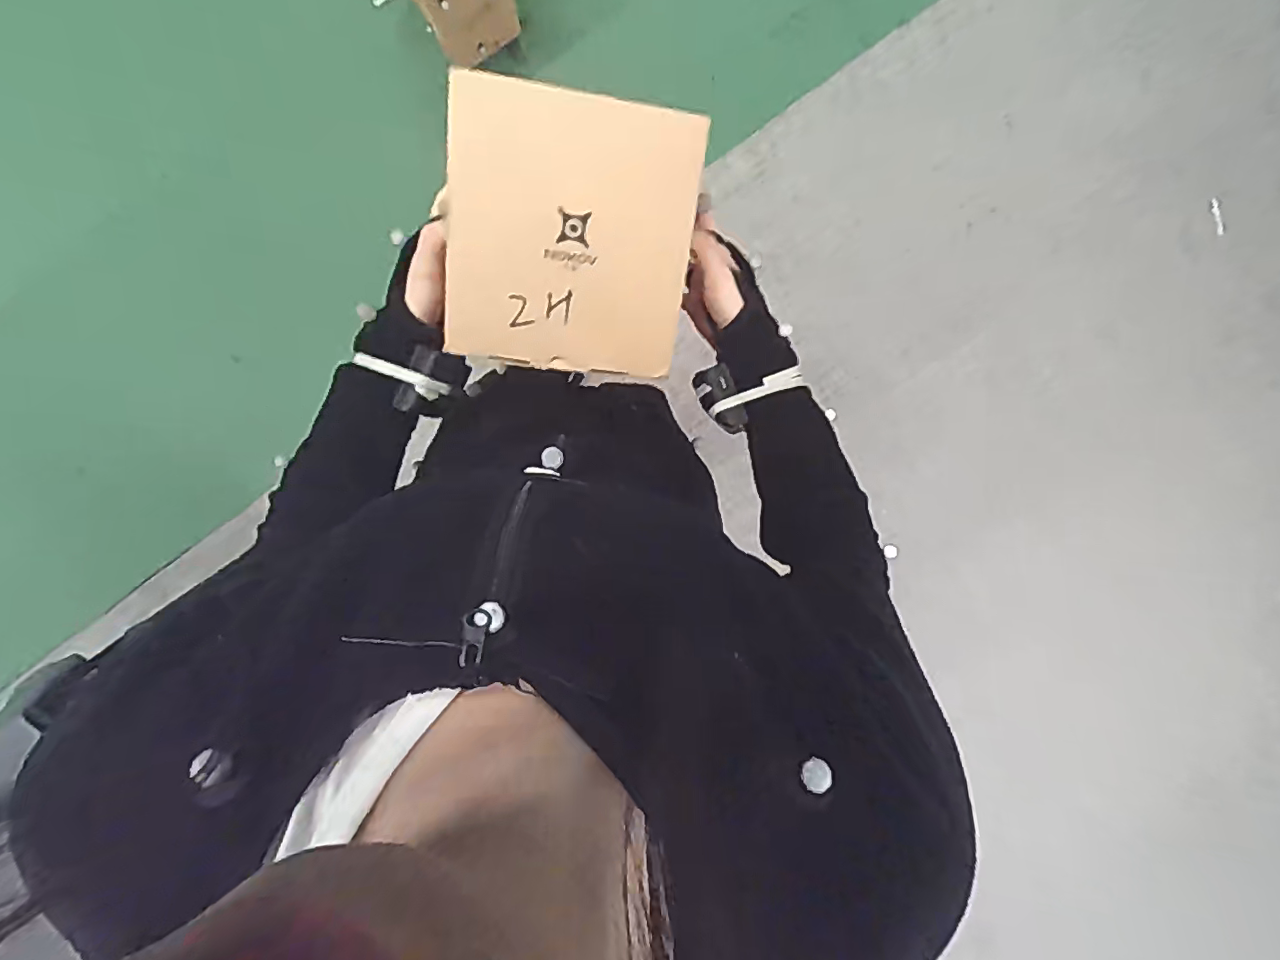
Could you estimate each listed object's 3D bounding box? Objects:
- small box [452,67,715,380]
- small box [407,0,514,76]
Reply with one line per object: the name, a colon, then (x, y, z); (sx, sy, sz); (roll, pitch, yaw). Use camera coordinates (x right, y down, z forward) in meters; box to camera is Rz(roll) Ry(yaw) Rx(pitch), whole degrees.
small box: (-0.051, -0.193, 0.447); (0.168, 0.176, 0.179); (6, 110, -8)
small box: (-0.375, -0.974, 1.092); (0.168, 0.176, 0.179); (-32, 109, 3)
